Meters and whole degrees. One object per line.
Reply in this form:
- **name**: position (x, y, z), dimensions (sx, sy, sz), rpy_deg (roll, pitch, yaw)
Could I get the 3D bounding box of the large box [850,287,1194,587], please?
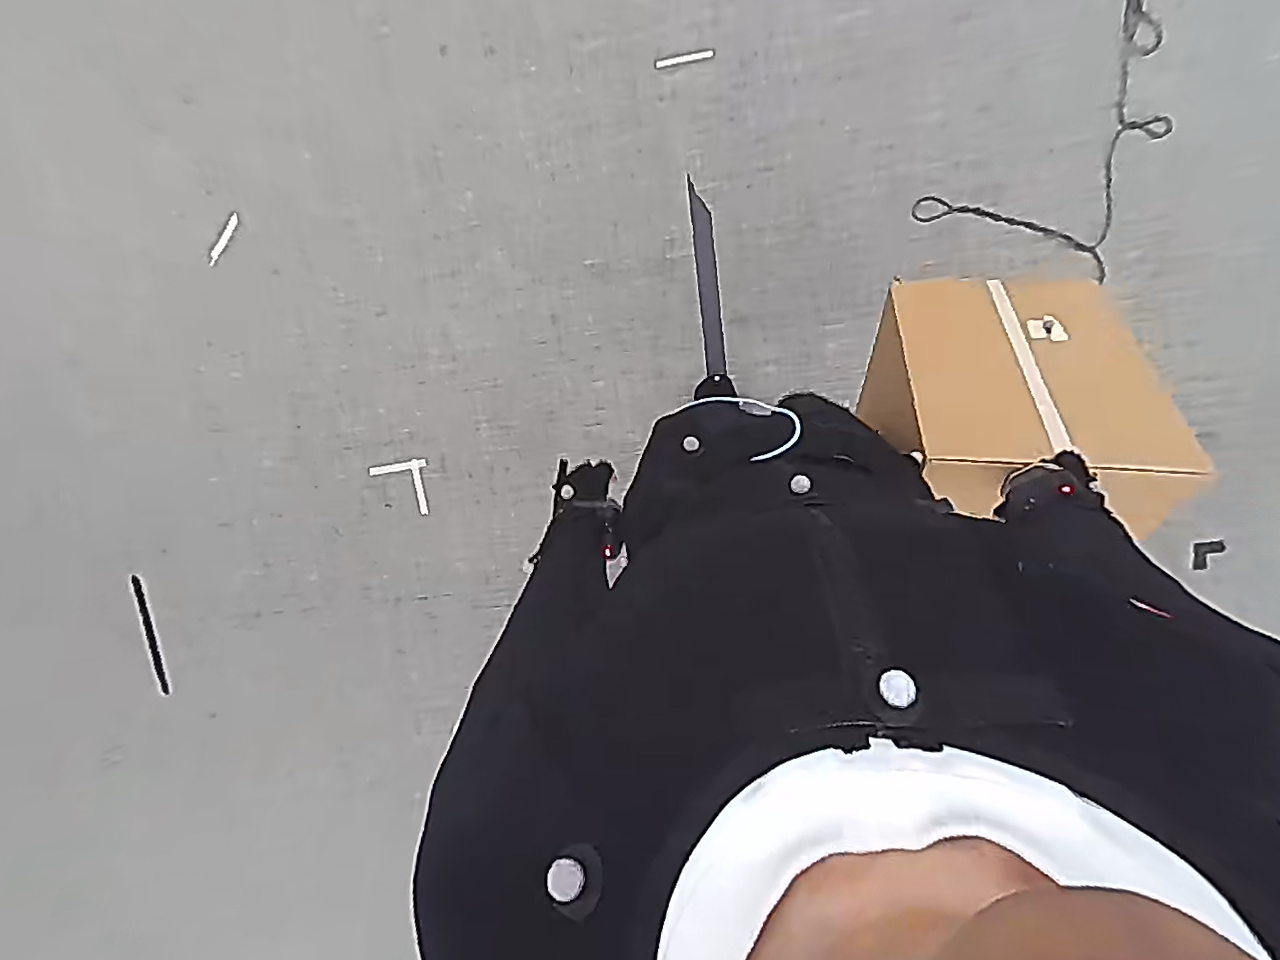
- **large box**: position (0.557, -0.074, 0.906), dimensions (0.320, 0.408, 0.320), rpy_deg (4, 140, 9)
